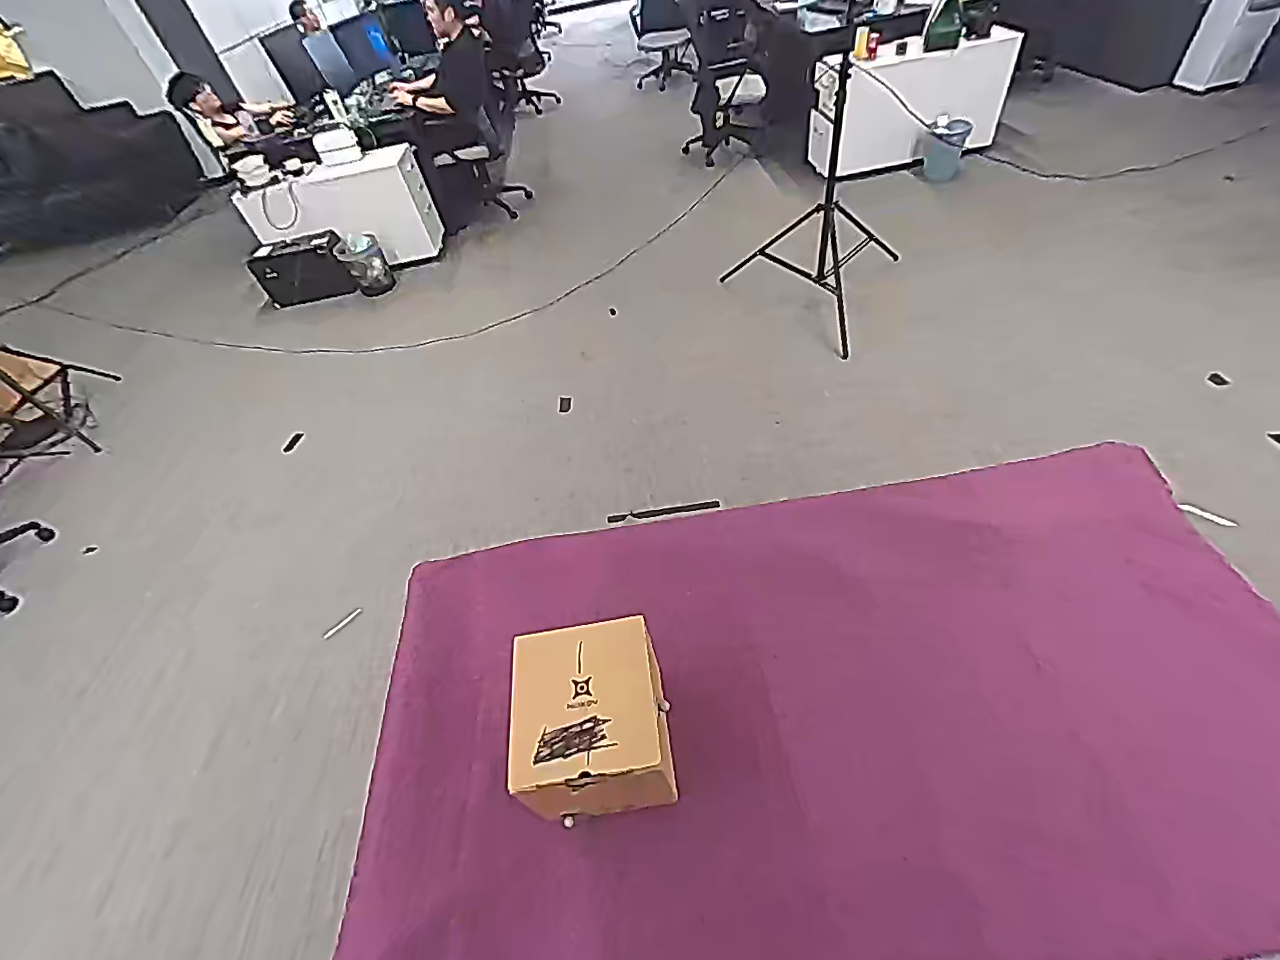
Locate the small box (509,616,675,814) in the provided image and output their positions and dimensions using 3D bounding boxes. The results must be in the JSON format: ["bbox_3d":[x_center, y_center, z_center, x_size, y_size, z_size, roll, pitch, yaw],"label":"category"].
[{"bbox_3d":[-0.054,0.298,0.672,0.168,0.176,0.179,-10,47,1],"label":"small box"}]
